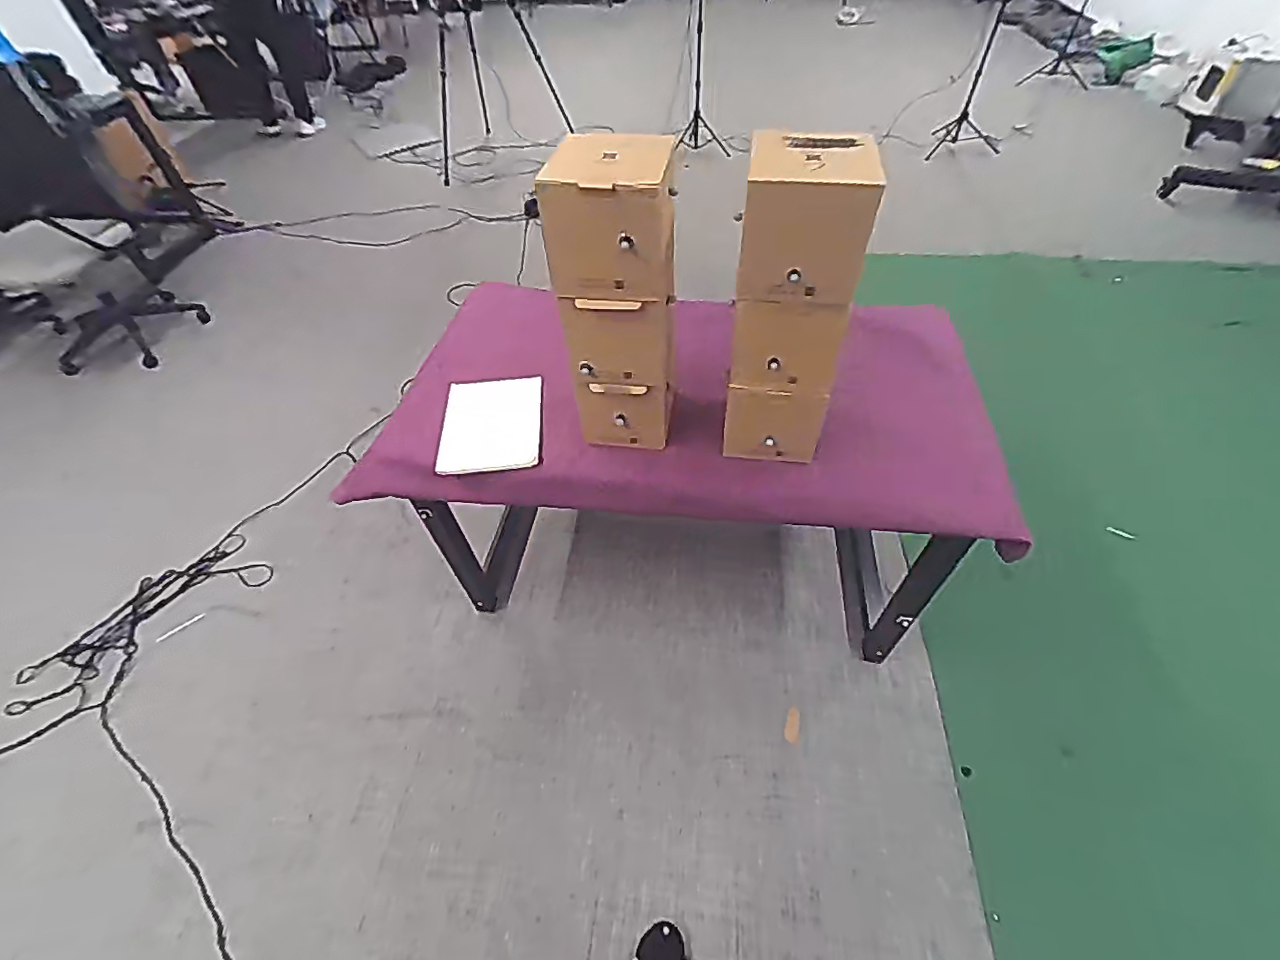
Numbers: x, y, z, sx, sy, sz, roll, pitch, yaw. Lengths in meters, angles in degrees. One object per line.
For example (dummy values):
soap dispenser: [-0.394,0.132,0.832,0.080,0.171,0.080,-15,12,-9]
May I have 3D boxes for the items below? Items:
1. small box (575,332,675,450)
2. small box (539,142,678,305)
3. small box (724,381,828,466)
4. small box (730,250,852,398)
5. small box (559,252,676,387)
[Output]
small box: [-0.021,-0.178,1.065,0.168,0.176,0.179,6,51,7]
small box: [-0.035,-0.381,0.808,0.168,0.176,0.179,6,50,8]
small box: [0.251,-0.150,1.025,0.168,0.176,0.179,5,50,9]
small box: [0.243,-0.261,0.906,0.168,0.176,0.179,6,50,8]
small box: [-0.028,-0.280,0.935,0.168,0.176,0.179,6,49,8]
